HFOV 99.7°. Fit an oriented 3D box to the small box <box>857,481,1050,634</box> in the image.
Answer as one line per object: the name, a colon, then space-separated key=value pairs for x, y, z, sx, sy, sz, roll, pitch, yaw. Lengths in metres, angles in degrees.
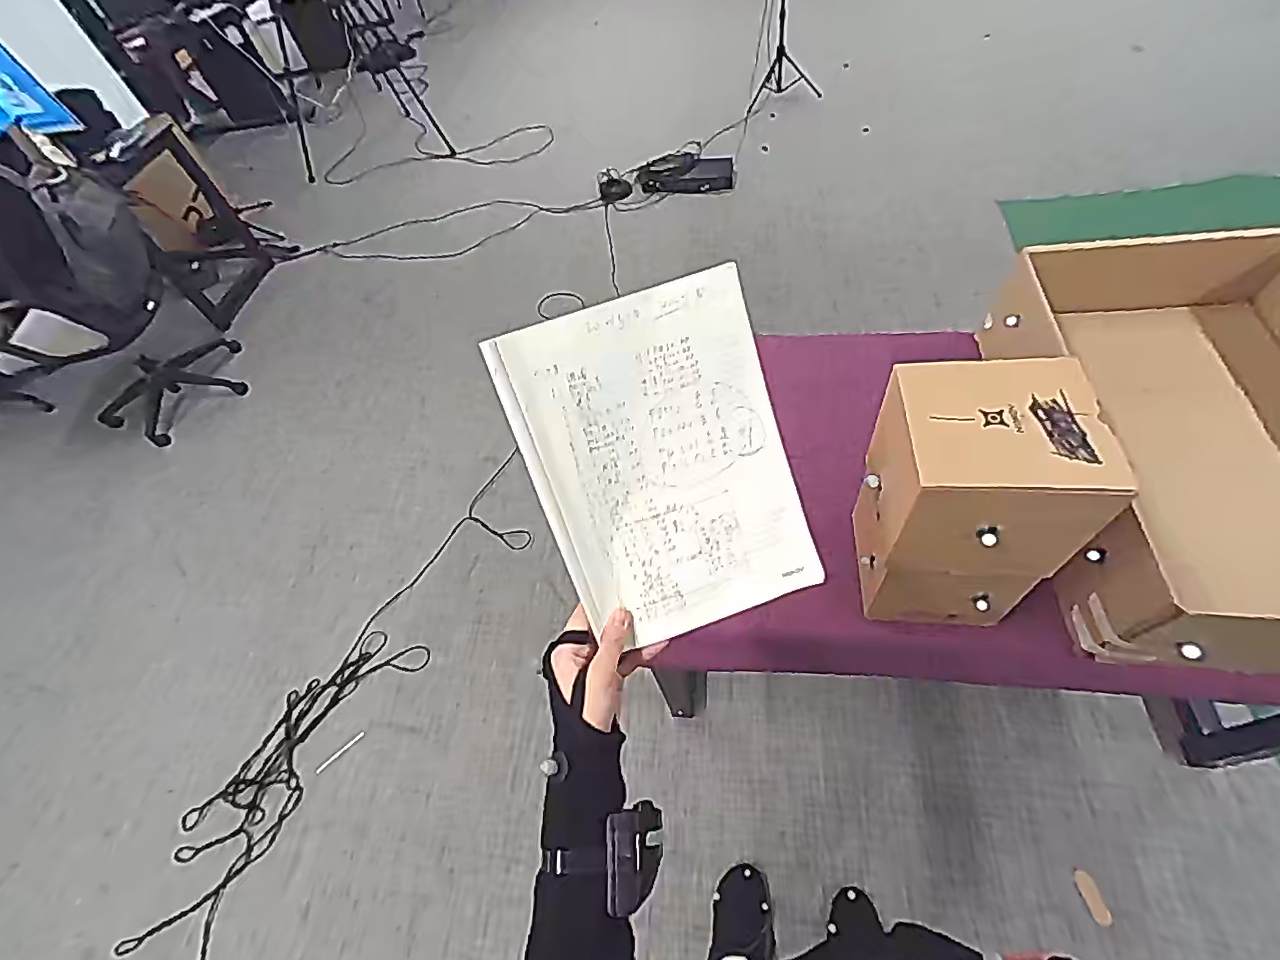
small box: x=0.393 y=0.090 z=0.716 sx=0.168 sy=0.176 sz=0.179 roll=1 pitch=53 yaw=11

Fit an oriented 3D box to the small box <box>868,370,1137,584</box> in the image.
small box: x=0.360 y=0.001 z=0.582 sx=0.179 sy=0.176 sz=0.168 roll=1 pitch=53 yaw=12
